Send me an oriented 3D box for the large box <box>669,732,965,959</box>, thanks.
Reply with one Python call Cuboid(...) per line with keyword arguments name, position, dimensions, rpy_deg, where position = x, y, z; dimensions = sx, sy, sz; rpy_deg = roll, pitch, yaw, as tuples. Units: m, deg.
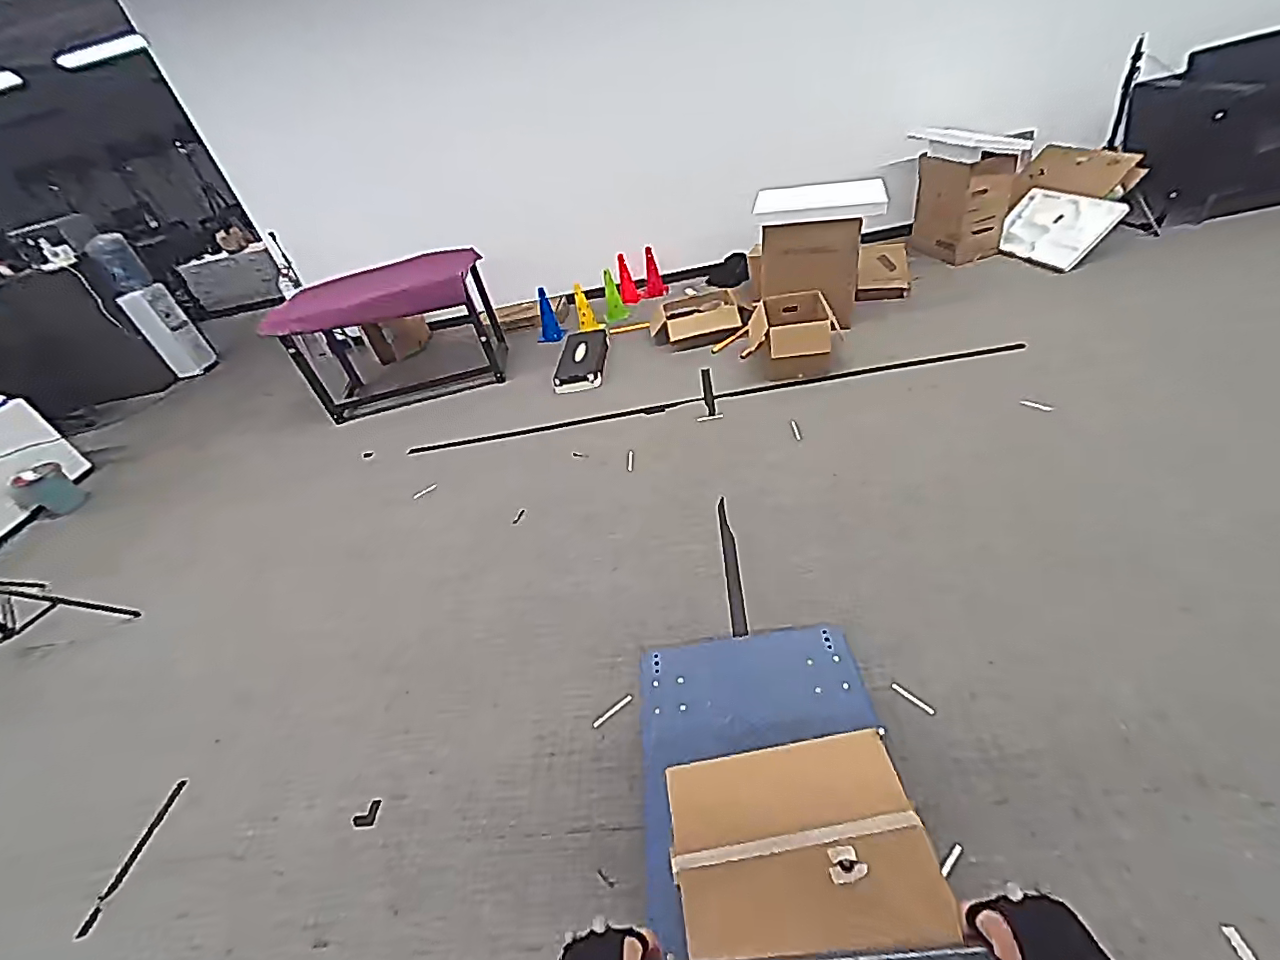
Cuboid(name="large box", position=(0.289, 0.722, 0.991), dimensions=(0.408, 0.320, 0.320), rpy_deg=(-12, 38, 2))
